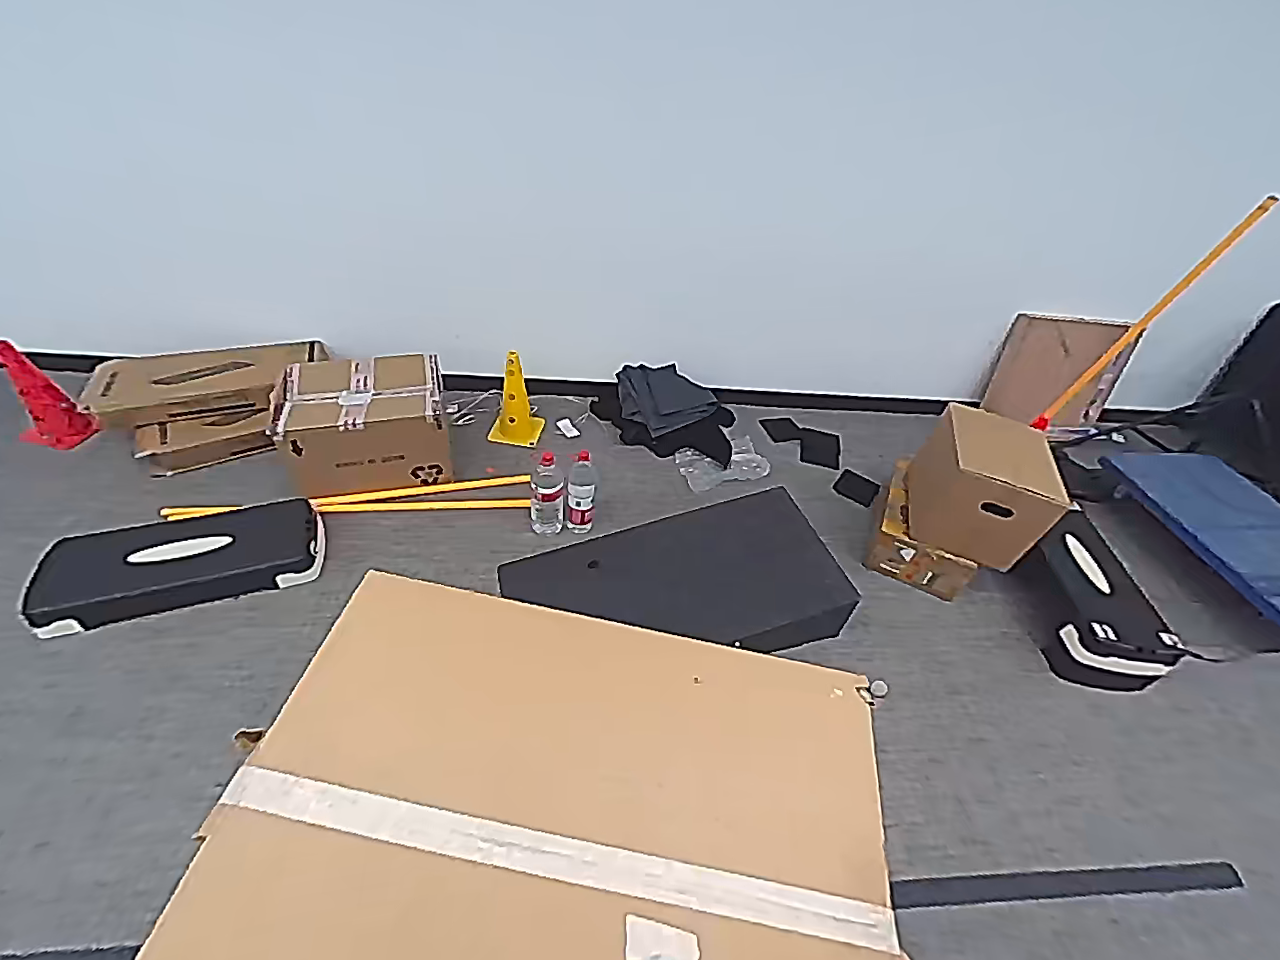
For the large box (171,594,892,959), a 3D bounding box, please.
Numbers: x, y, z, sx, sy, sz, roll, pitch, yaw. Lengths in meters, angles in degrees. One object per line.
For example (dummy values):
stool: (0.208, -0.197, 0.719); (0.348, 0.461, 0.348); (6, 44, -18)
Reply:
large box: (-0.061, 0.336, 0.442); (0.408, 0.320, 0.320); (12, 49, 1)
